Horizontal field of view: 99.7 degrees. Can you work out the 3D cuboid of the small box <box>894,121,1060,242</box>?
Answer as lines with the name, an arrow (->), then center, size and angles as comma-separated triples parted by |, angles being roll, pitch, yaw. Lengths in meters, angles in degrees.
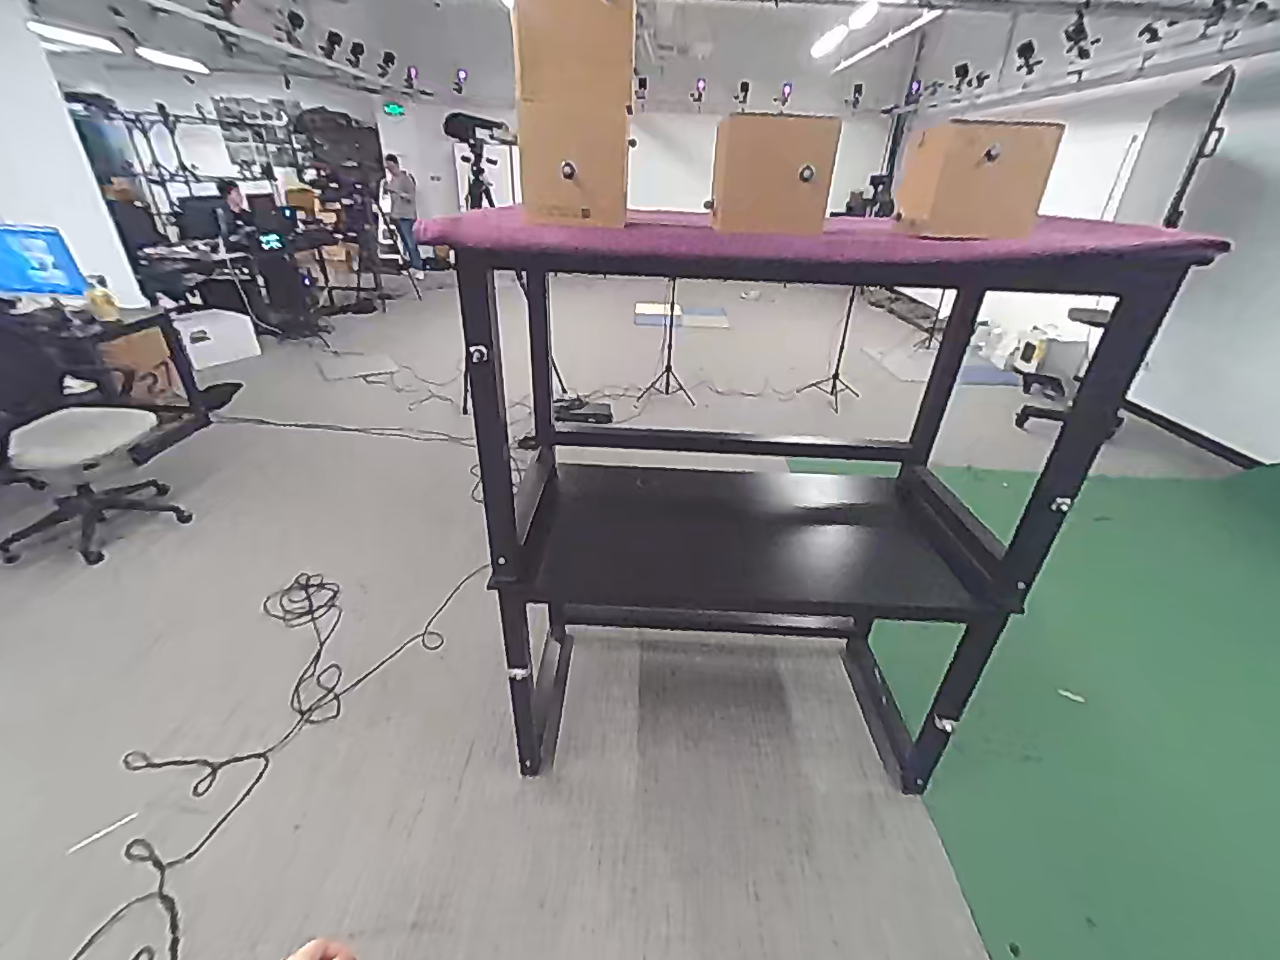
small box -> 0.562, -0.508, 0.936 | 0.179, 0.176, 0.168 | 3, 27, 1

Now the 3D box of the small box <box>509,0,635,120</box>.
small box -> -0.099, -0.662, 0.829 | 0.179, 0.176, 0.168 | 3, 31, -2

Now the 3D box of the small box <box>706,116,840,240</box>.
small box -> 0.214, -0.508, 0.918 | 0.179, 0.176, 0.168 | 1, 29, 0

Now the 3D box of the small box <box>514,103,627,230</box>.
small box -> -0.108, -0.522, 0.910 | 0.168, 0.176, 0.179 | 3, 30, -1
